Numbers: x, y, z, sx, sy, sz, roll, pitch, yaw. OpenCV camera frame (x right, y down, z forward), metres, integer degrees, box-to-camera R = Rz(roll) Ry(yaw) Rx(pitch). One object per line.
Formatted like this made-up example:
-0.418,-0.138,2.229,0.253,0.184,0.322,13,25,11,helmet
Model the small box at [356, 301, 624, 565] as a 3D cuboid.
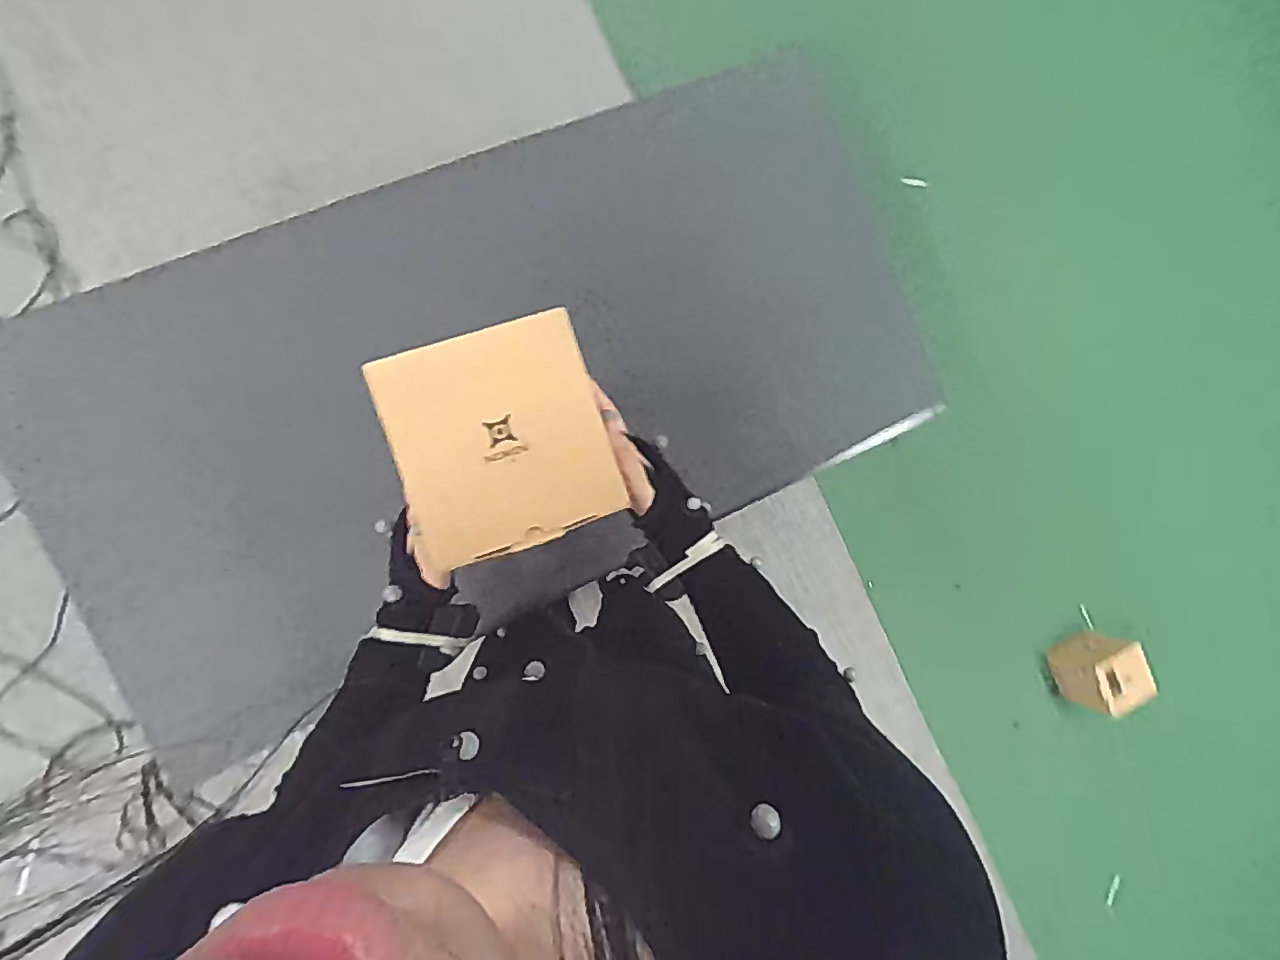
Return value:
-0.129,-0.037,0.504,0.168,0.176,0.179,-19,92,-9,small box
